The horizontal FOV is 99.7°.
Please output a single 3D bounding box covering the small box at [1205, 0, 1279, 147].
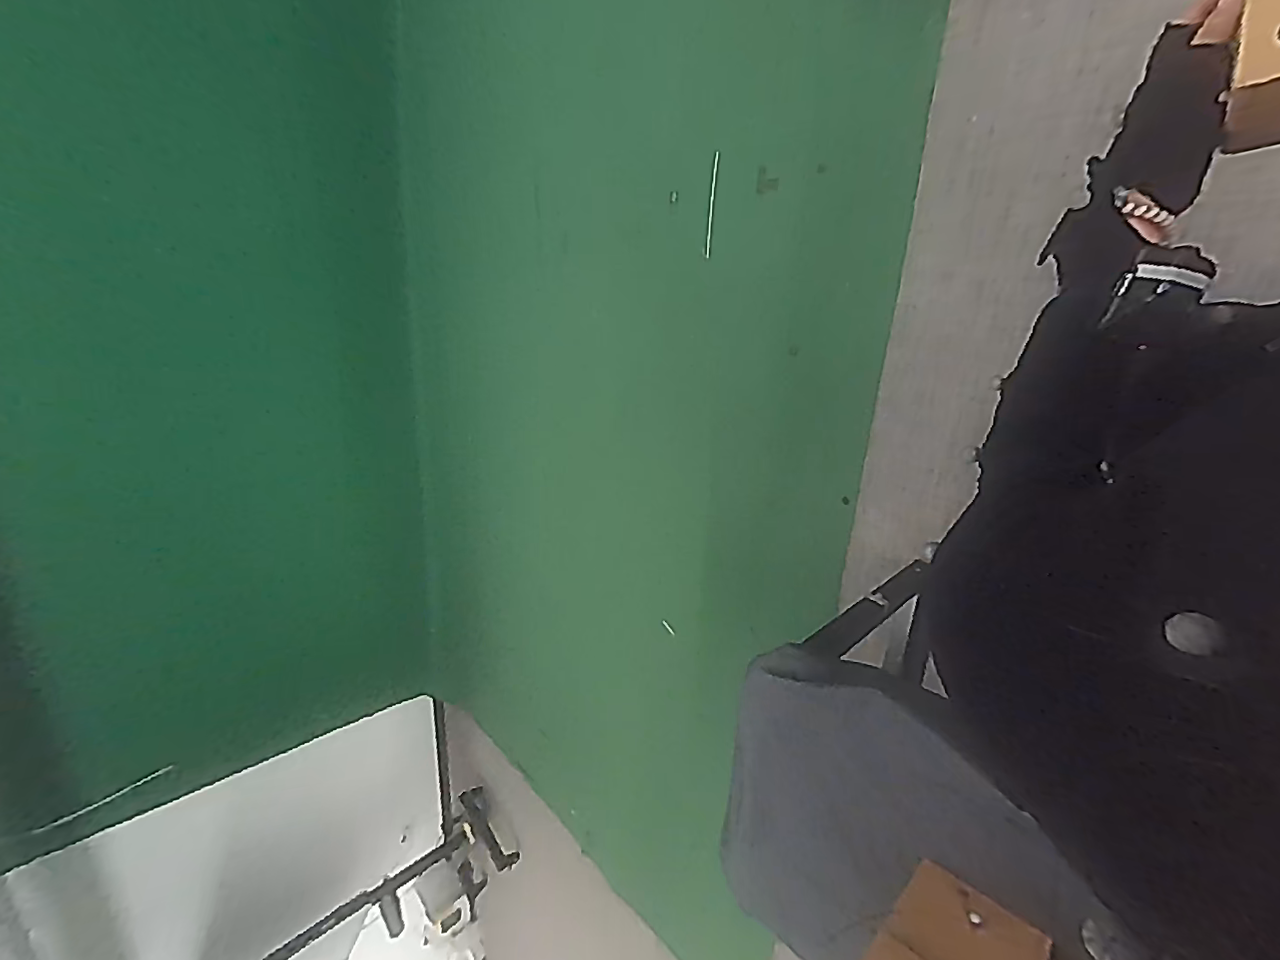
[{"bbox_3d":[0.453,-0.315,0.298,0.179,0.176,0.168,8,105,43],"label":"small box"}]
